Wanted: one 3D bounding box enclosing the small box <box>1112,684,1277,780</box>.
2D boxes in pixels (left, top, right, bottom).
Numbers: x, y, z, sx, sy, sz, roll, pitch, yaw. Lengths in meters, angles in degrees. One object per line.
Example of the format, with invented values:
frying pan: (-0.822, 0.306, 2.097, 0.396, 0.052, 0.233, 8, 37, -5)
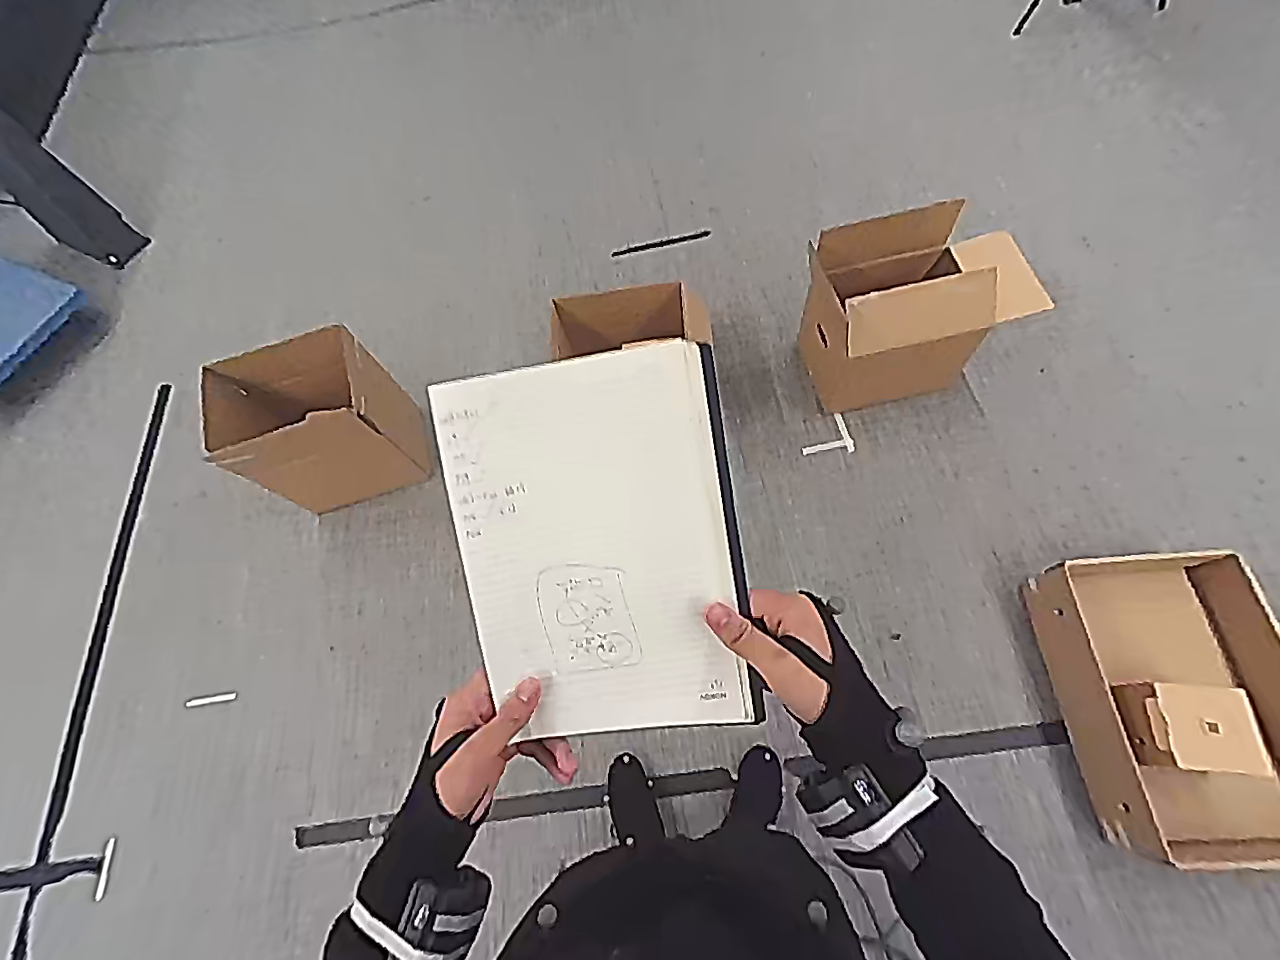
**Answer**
small box: (1.176, 0.543, 1.171, 0.179, 0.176, 0.168, 2, 66, 9)
